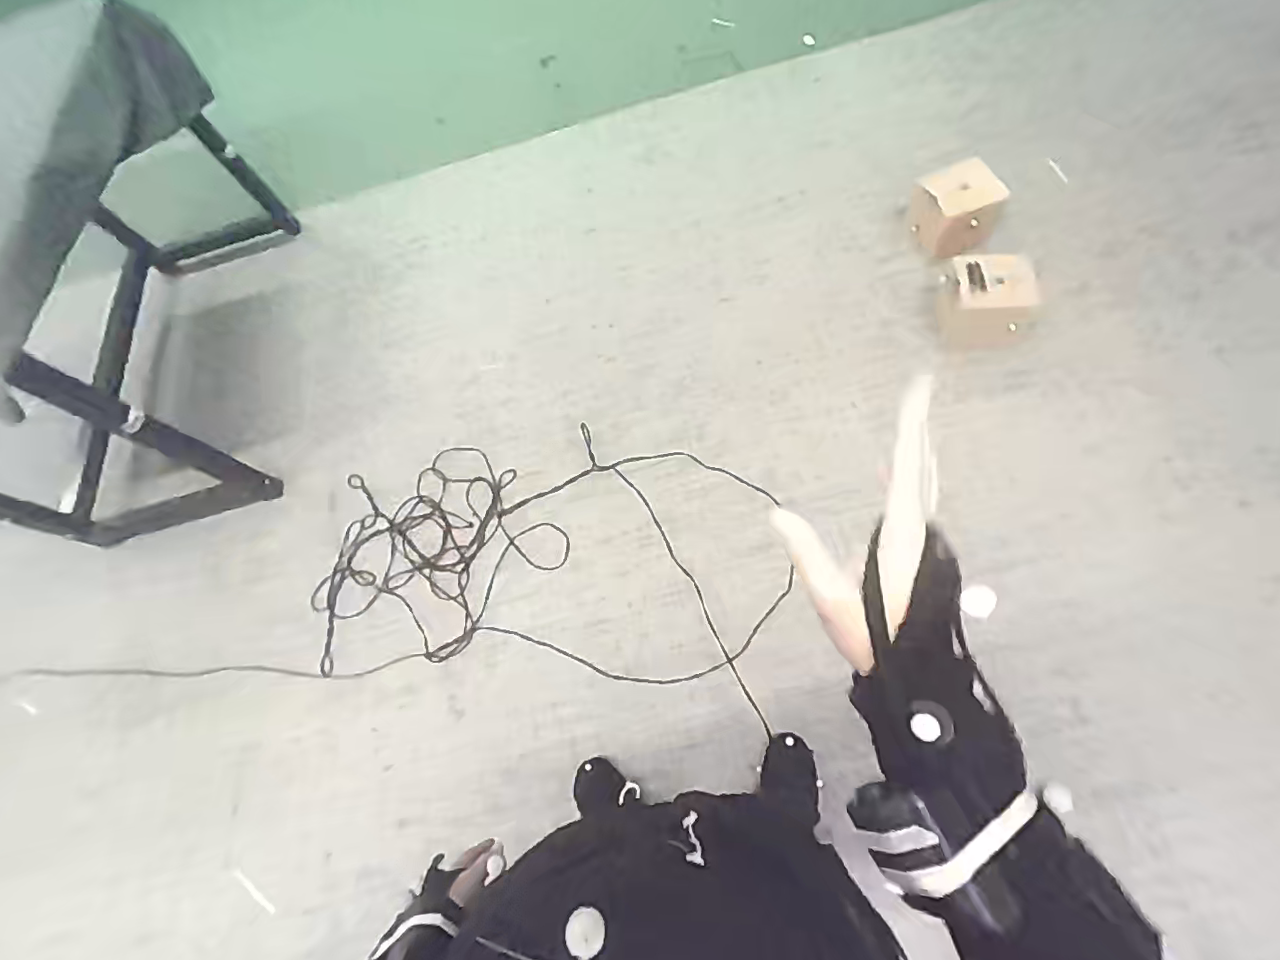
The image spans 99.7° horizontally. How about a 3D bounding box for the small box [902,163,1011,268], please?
[{"bbox_3d":[0.865,-0.727,1.499,0.179,0.176,0.168,-19,65,1],"label":"small box"}]
